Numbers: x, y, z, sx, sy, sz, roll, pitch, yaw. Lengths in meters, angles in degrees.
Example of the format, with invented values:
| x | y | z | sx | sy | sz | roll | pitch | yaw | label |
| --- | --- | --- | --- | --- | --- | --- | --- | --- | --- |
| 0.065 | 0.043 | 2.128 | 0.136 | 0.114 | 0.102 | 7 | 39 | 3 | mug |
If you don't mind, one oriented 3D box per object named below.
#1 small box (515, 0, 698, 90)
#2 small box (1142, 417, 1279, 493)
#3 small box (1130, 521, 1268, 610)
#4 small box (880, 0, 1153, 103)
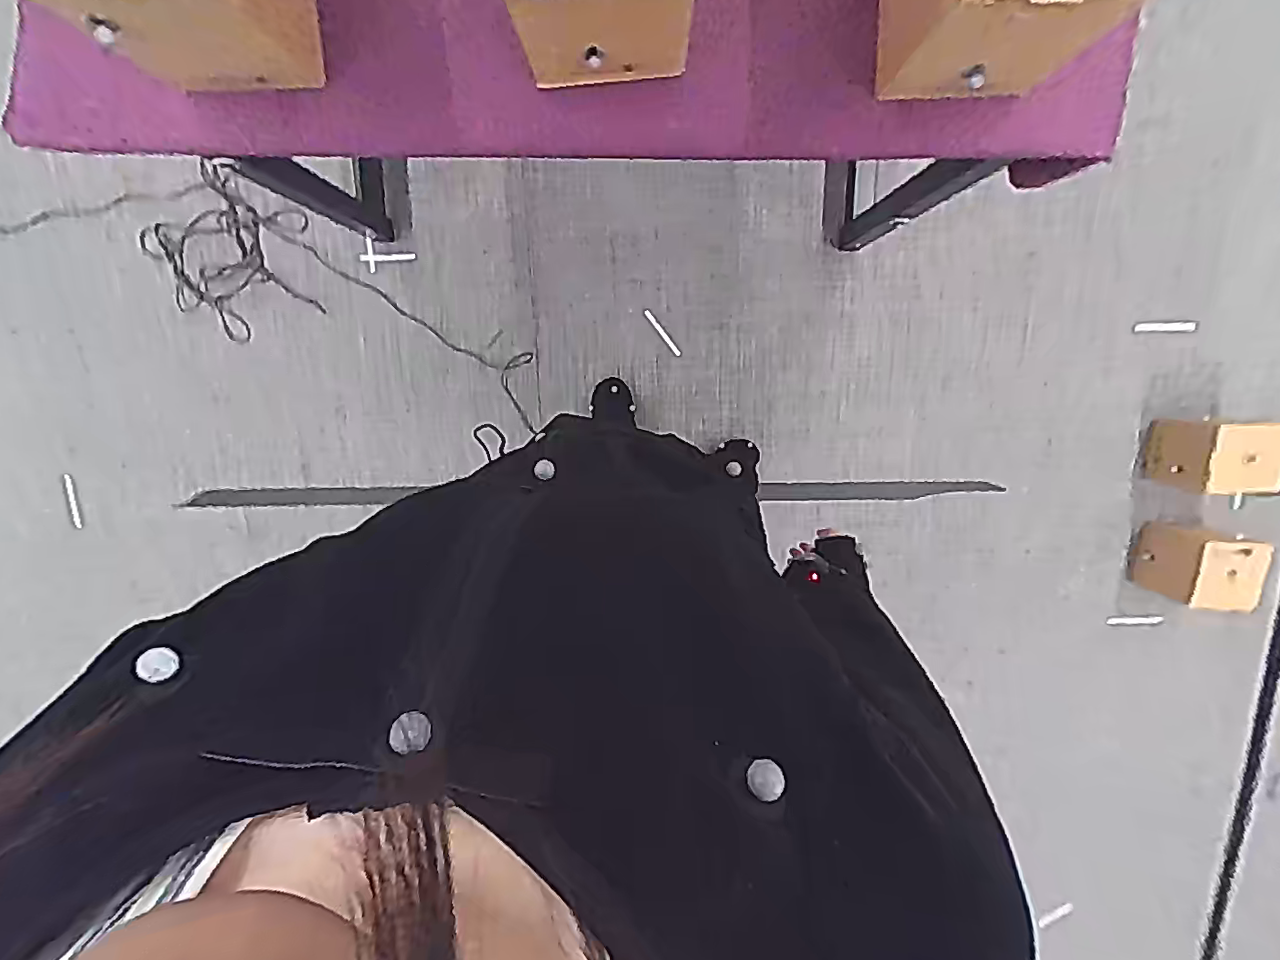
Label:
| x | y | z | sx | sy | sz | roll | pitch | yaw | label |
| --- | --- | --- | --- | --- | --- | --- | --- | --- | --- |
| -0.038 | -0.510 | 0.508 | 0.168 | 0.176 | 0.179 | -5 | 102 | 1 | small box |
| 1.421 | -0.067 | 1.351 | 0.179 | 0.176 | 0.168 | -3 | 103 | -1 | small box |
| 1.440 | 0.218 | 1.409 | 0.168 | 0.176 | 0.179 | 3 | 102 | 0 | small box |
| 0.344 | -0.494 | 0.510 | 0.168 | 0.176 | 0.179 | -1 | 101 | 1 | small box |
